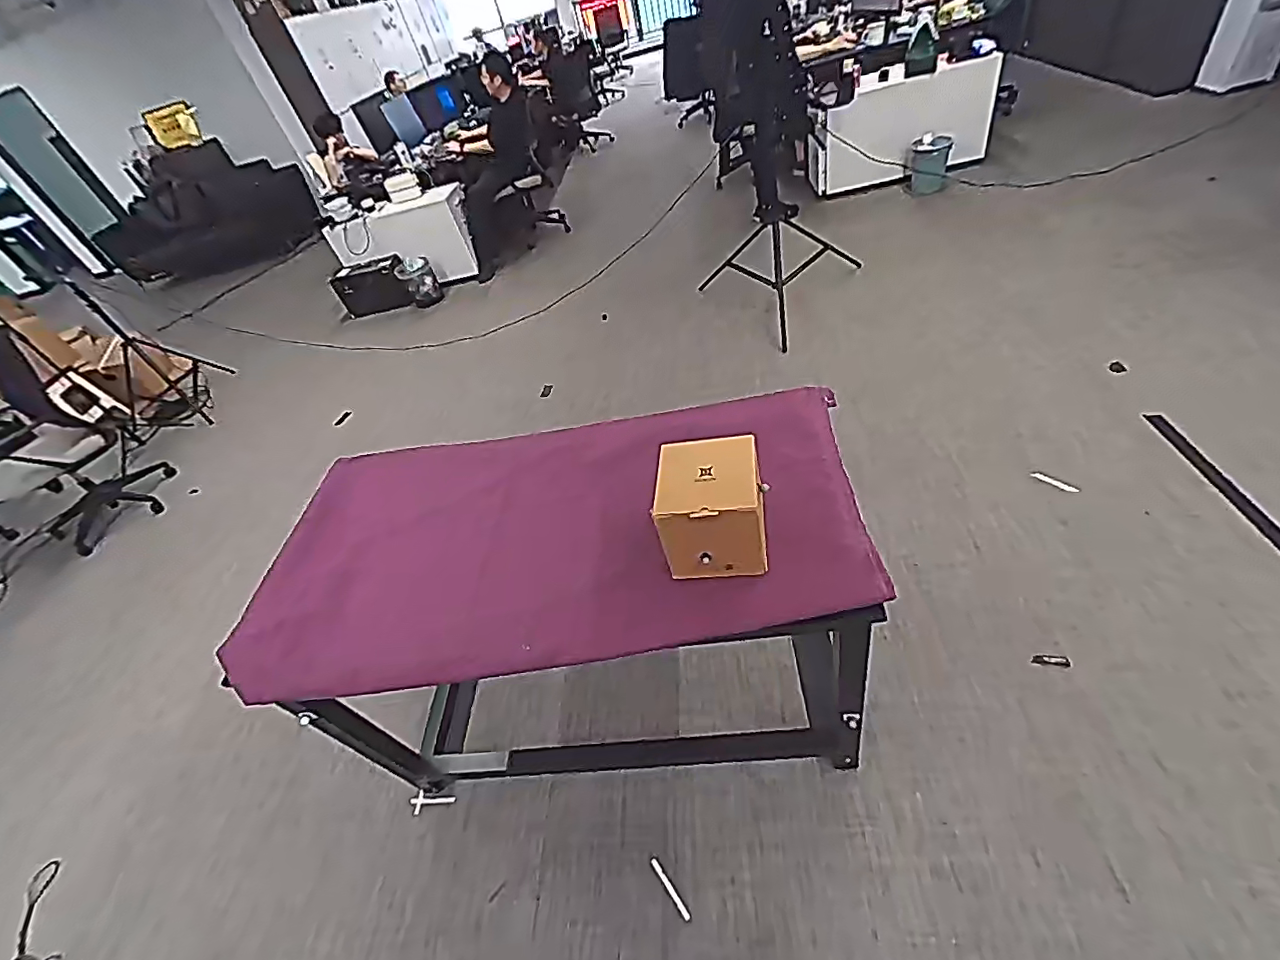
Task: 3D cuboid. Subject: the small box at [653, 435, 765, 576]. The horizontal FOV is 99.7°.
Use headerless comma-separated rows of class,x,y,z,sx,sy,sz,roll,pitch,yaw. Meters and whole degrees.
small box,0.126,0.046,0.945,0.168,0.176,0.179,-6,43,14
